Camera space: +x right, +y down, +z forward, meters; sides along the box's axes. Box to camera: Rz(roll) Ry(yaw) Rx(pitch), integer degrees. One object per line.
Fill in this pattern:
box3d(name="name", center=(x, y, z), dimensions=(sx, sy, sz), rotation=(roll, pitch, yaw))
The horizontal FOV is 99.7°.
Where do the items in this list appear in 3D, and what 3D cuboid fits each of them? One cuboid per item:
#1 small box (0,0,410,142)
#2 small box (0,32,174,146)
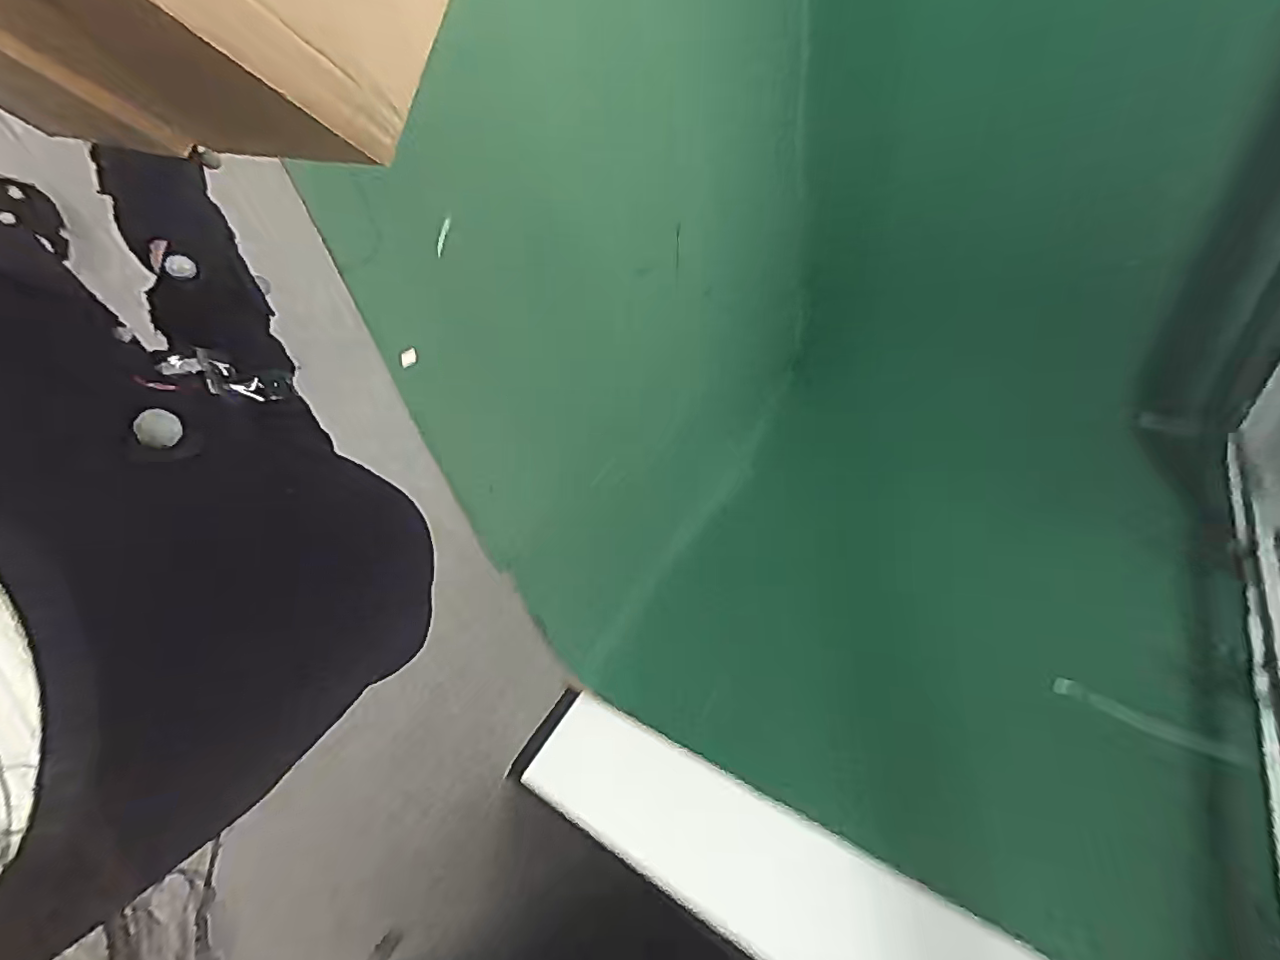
box3d(name="small box", center=(-0.173, -0.226, 0.149), dimensions=(0.179, 0.176, 0.168), rotation=(15, 98, -58))
box3d(name="small box", center=(-0.300, -0.284, 0.234), dimensions=(0.168, 0.176, 0.179), rotation=(20, 95, -58))
